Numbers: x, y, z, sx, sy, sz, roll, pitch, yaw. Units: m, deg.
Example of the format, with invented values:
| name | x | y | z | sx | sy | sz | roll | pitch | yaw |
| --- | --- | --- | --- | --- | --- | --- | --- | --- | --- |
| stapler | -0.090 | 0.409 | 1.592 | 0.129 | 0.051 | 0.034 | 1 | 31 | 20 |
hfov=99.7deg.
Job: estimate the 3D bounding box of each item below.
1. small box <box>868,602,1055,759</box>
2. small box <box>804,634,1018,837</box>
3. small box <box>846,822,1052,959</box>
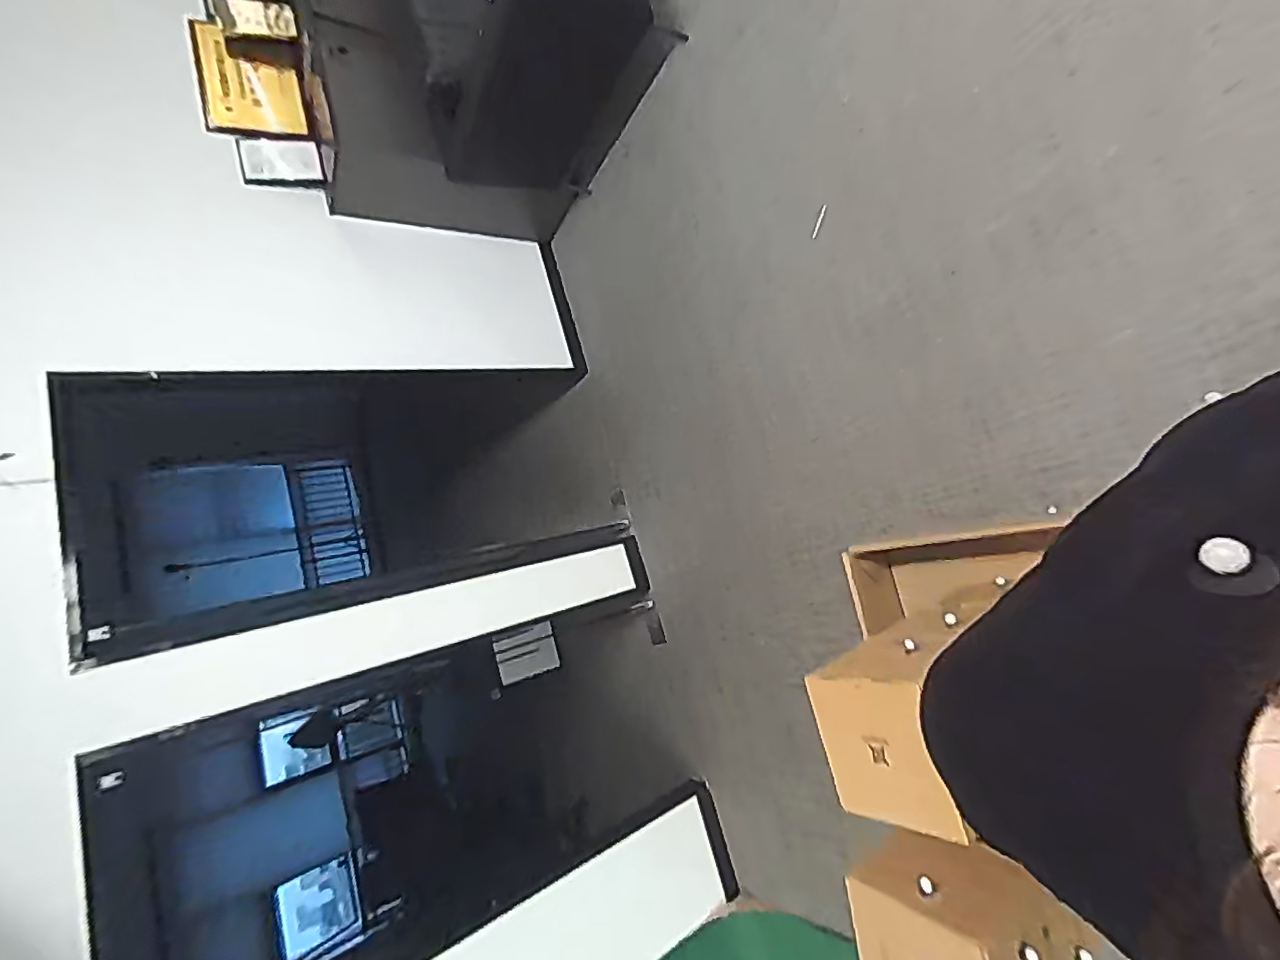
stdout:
| name | x | y | z | sx | sy | sz | roll | pitch | yaw |
| --- | --- | --- | --- | --- | --- | --- | --- | --- | --- |
| small box | 0.480 | 0.287 | 0.805 | 0.179 | 0.176 | 0.168 | -26 | 77 | 52 |
| small box | 0.353 | 0.314 | 0.706 | 0.168 | 0.176 | 0.179 | -25 | 78 | 53 |
| small box | 0.401 | 0.580 | 0.697 | 0.179 | 0.176 | 0.168 | -13 | 86 | 54 |
